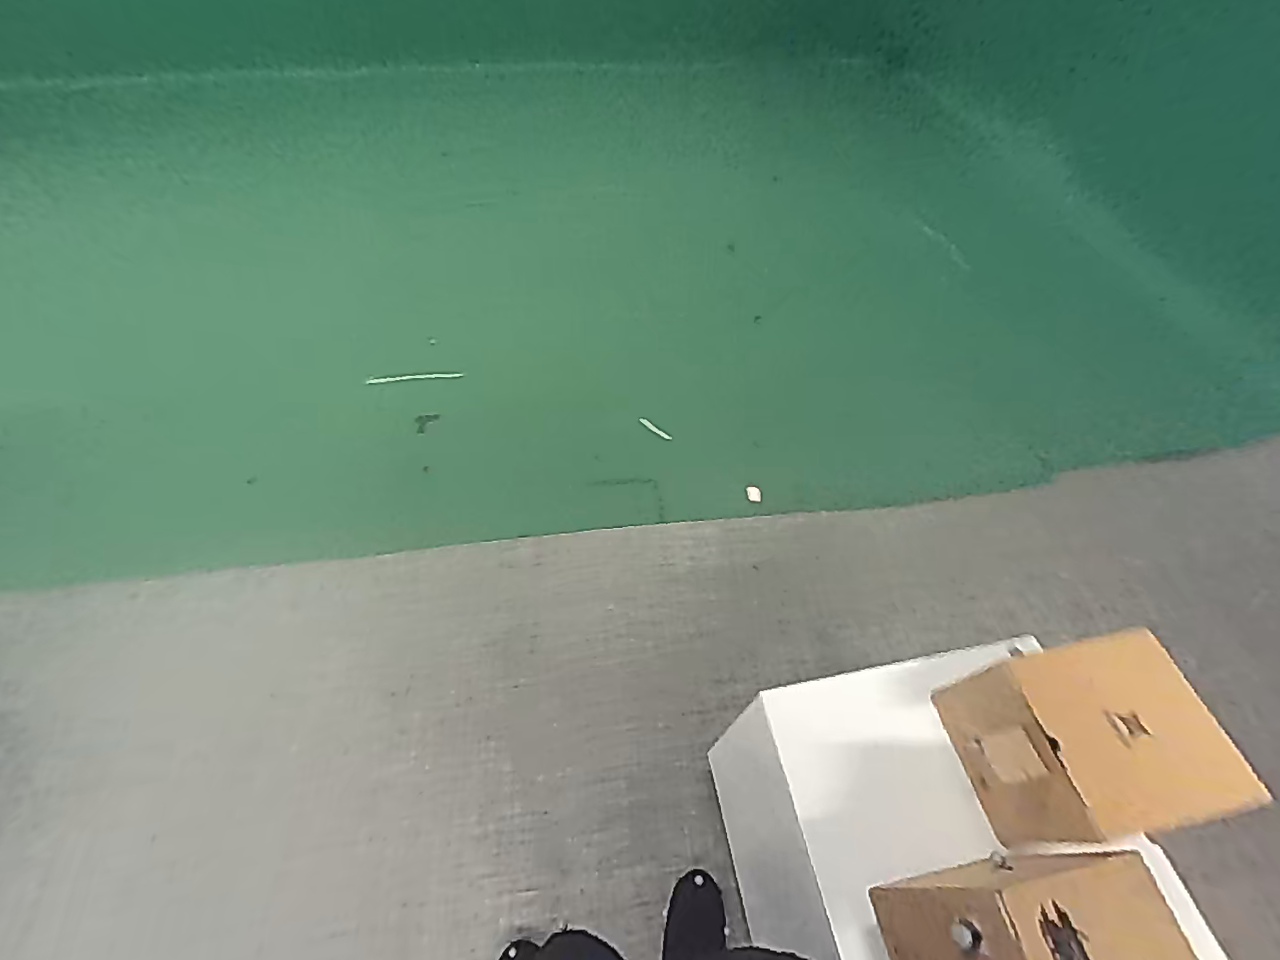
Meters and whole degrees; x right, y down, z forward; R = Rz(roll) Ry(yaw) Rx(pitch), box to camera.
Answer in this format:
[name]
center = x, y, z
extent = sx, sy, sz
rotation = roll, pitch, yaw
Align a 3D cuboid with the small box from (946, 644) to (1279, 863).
[small box]
center = 0.481, 0.296, 0.587
extent = 0.179, 0.176, 0.168
rotation = -10, 56, -6
